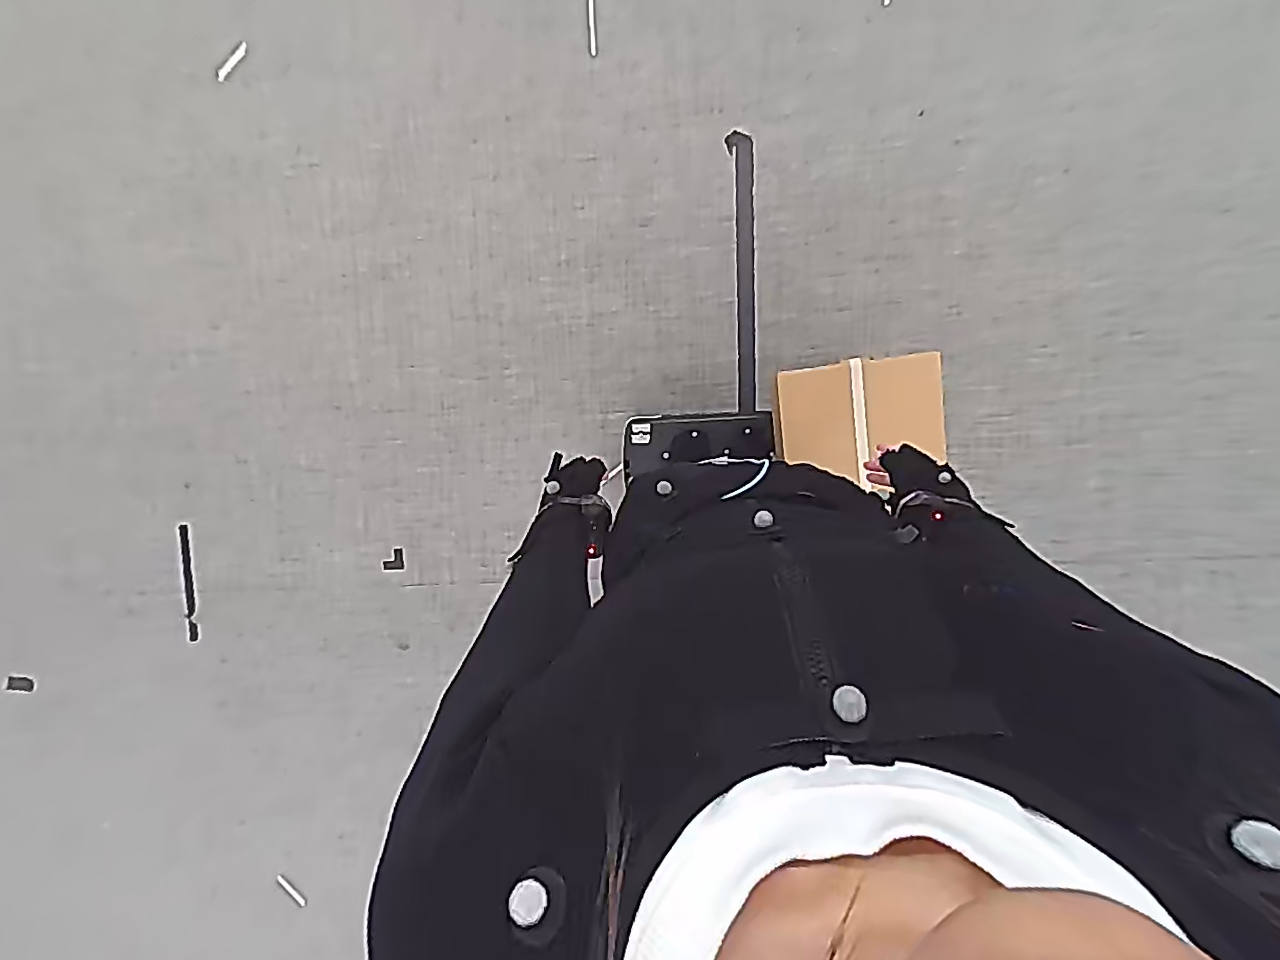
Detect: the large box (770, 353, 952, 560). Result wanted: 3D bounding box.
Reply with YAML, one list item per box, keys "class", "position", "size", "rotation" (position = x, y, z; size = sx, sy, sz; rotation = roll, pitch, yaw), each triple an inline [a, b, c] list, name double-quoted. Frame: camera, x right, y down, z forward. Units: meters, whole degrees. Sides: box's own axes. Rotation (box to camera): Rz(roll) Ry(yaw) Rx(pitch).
- class: "large box"
  position: [0.487, -0.059, 1.255]
  size: [0.320, 0.320, 0.408]
  rotation: [-6, 97, 12]
